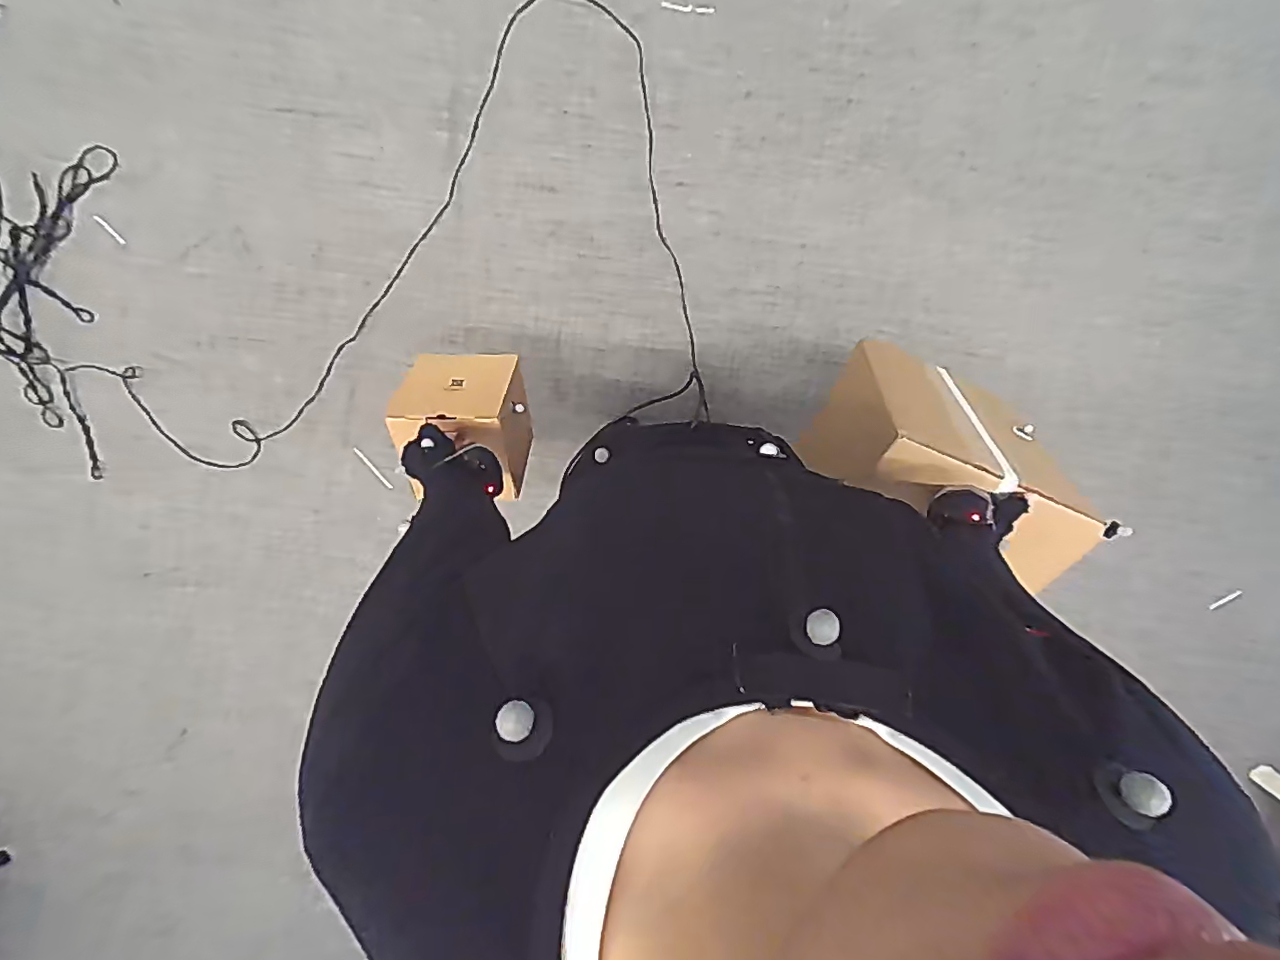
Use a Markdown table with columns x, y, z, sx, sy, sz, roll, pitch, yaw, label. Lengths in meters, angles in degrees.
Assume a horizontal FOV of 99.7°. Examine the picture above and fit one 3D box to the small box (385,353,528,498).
| x | y | z | sx | sy | sz | roll | pitch | yaw | label |
| --- | --- | --- | --- | --- | --- | --- | --- | --- | --- |
| -0.285 | -0.090 | 0.887 | 0.168 | 0.179 | 0.176 | 0 | 134 | 1 | small box |
